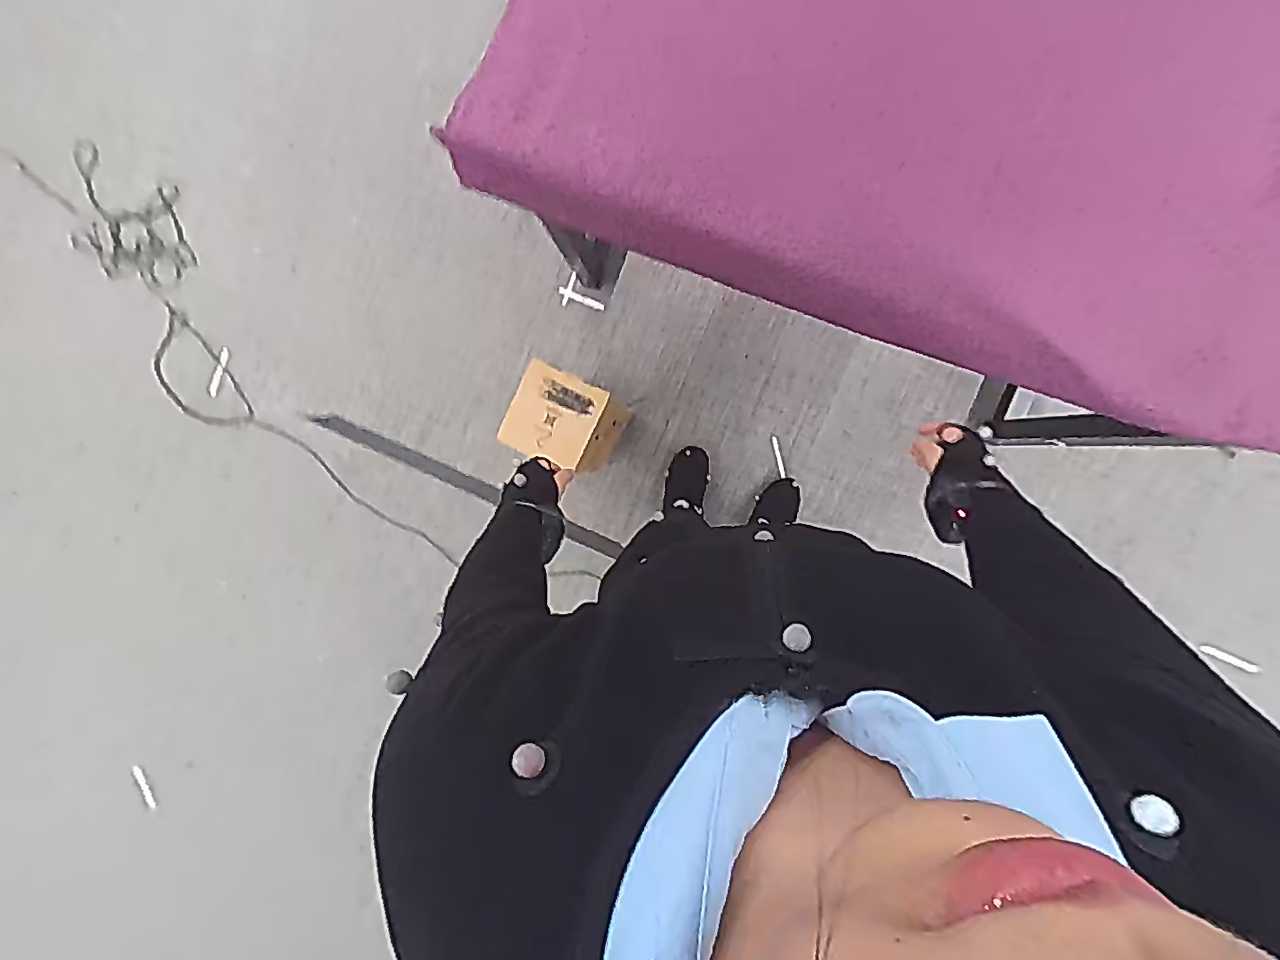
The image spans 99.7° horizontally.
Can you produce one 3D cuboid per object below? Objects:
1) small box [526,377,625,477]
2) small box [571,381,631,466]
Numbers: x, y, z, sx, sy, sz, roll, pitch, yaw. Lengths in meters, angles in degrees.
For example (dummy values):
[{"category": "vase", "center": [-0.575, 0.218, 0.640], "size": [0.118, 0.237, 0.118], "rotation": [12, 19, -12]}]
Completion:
[{"category": "small box", "center": [-0.141, -0.121, 1.262], "size": [0.168, 0.176, 0.179], "rotation": [24, 96, 3]}, {"category": "small box", "center": [-0.134, -0.139, 1.426], "size": [0.168, 0.176, 0.179], "rotation": [29, 95, 2]}]
